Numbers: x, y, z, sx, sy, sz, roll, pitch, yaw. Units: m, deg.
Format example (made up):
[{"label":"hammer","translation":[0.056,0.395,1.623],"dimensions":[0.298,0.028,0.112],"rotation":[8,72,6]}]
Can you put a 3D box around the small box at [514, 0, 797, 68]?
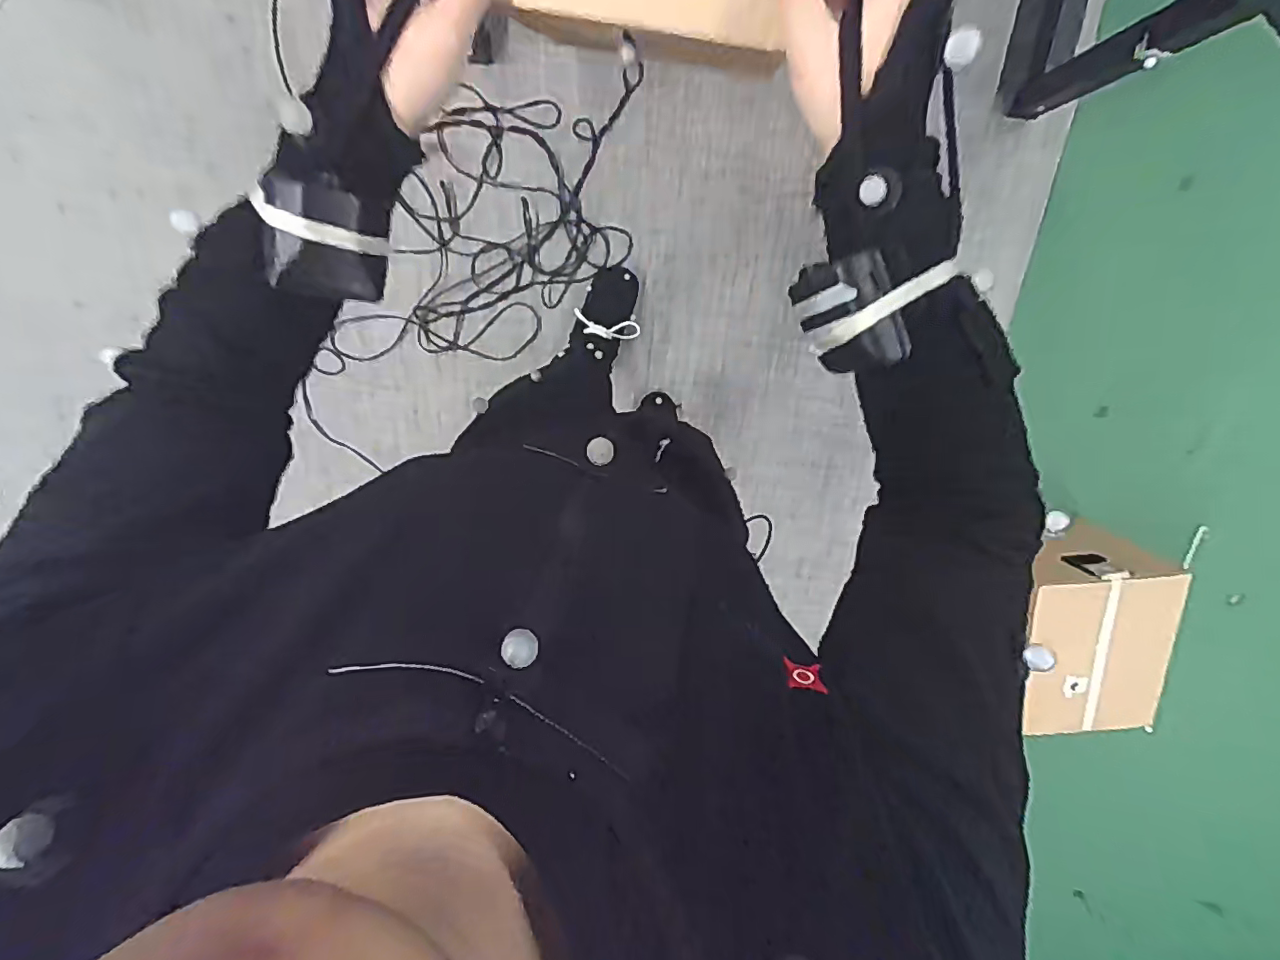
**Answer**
[{"label":"small box","translation":[0.015,-0.351,0.303],"dimensions":[0.179,0.176,0.168],"rotation":[11,123,2]}]

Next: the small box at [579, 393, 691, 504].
[{"label":"small box","translation":[-0.008,-0.064,1.238],"dimensions":[0.176,0.168,0.179],"rotation":[-23,117,29]}]
